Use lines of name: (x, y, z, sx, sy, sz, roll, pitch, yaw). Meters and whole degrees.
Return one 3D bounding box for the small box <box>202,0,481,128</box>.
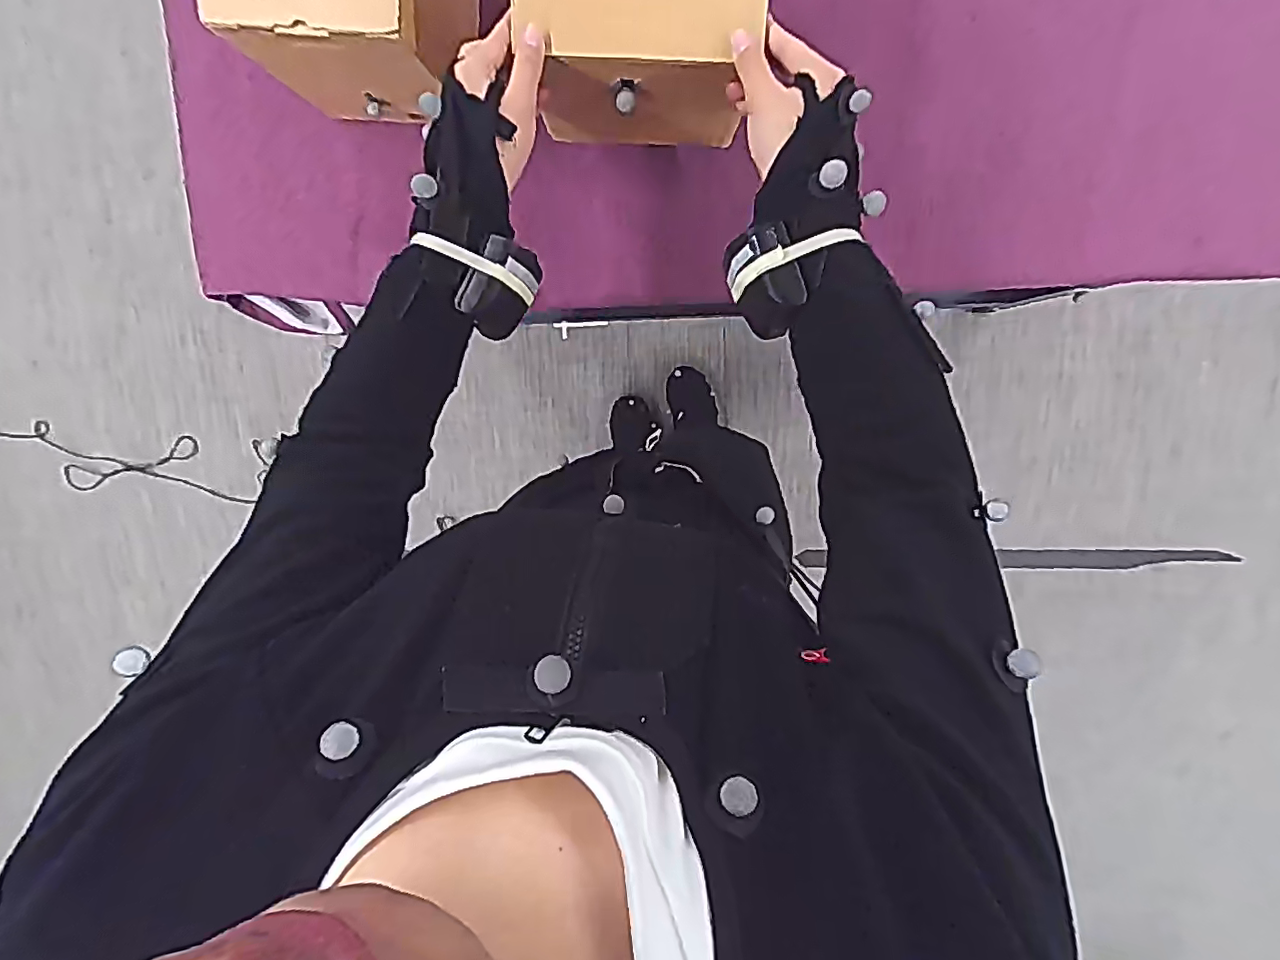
small box: (-0.253, -0.456, 0.489, 0.168, 0.176, 0.179, 6, 102, 3)
